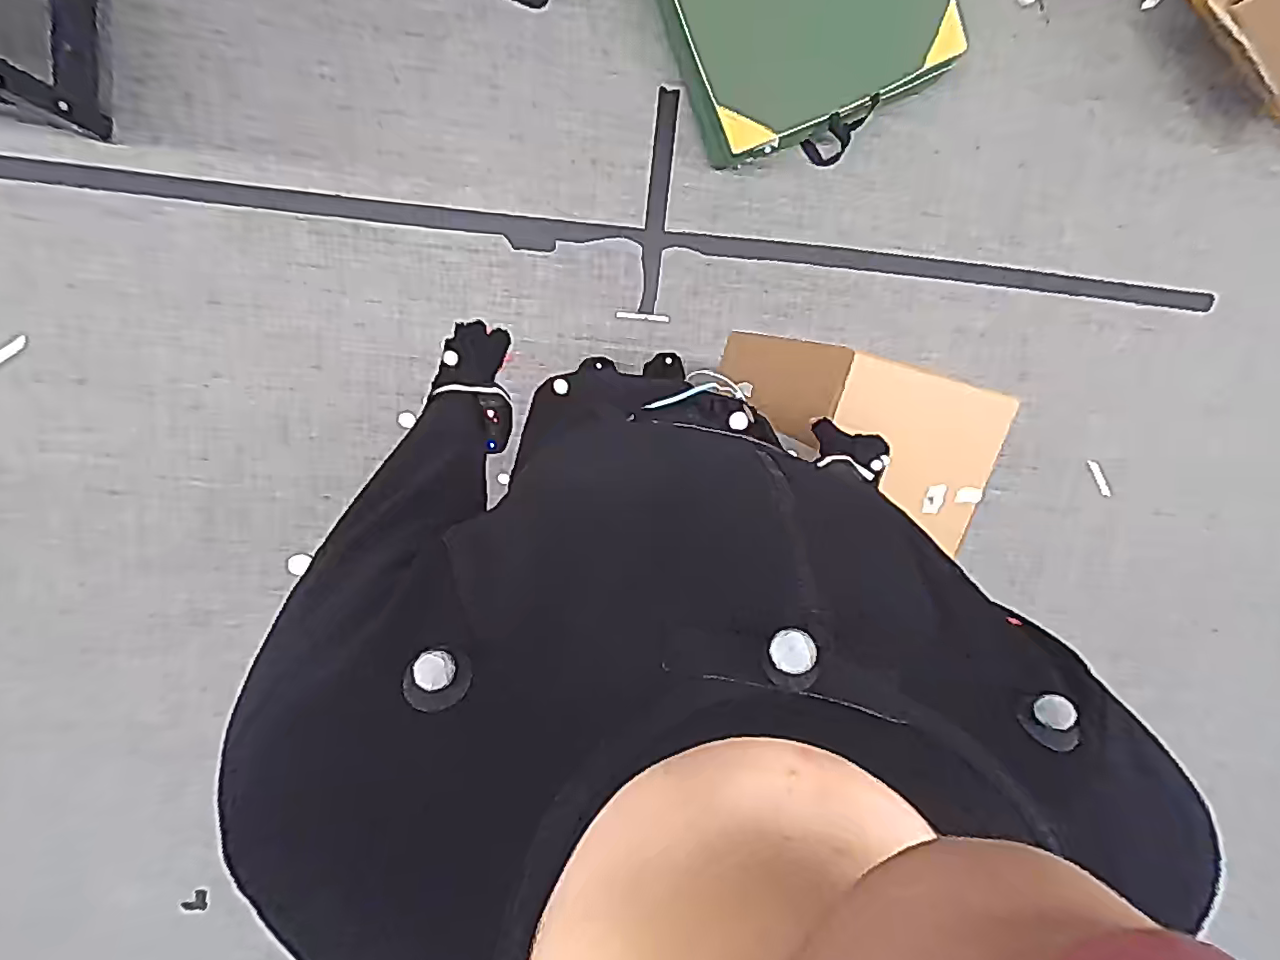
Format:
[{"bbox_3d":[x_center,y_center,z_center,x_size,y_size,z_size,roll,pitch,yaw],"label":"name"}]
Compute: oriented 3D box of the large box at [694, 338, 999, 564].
[{"bbox_3d":[0.338,-0.071,0.999,0.320,0.408,0.320,9,105,-17],"label":"large box"}]
